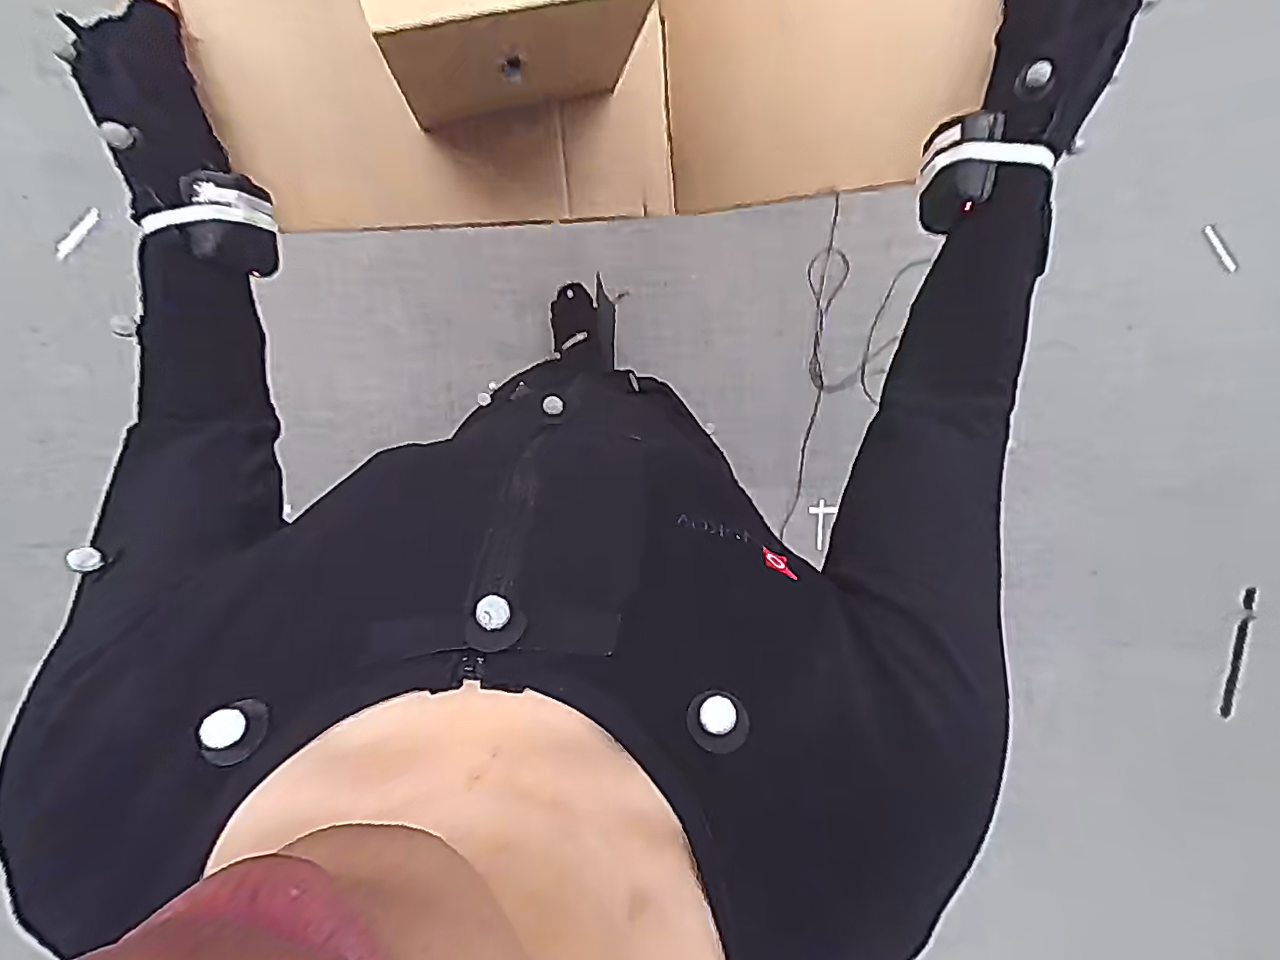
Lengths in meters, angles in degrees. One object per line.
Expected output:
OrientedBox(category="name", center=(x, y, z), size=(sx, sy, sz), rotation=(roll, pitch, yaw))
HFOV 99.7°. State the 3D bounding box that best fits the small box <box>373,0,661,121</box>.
OrientedBox(category="small box", center=(-0.100, -0.377, 0.371), size=(0.179, 0.176, 0.168), rotation=(-16, 110, -7))
